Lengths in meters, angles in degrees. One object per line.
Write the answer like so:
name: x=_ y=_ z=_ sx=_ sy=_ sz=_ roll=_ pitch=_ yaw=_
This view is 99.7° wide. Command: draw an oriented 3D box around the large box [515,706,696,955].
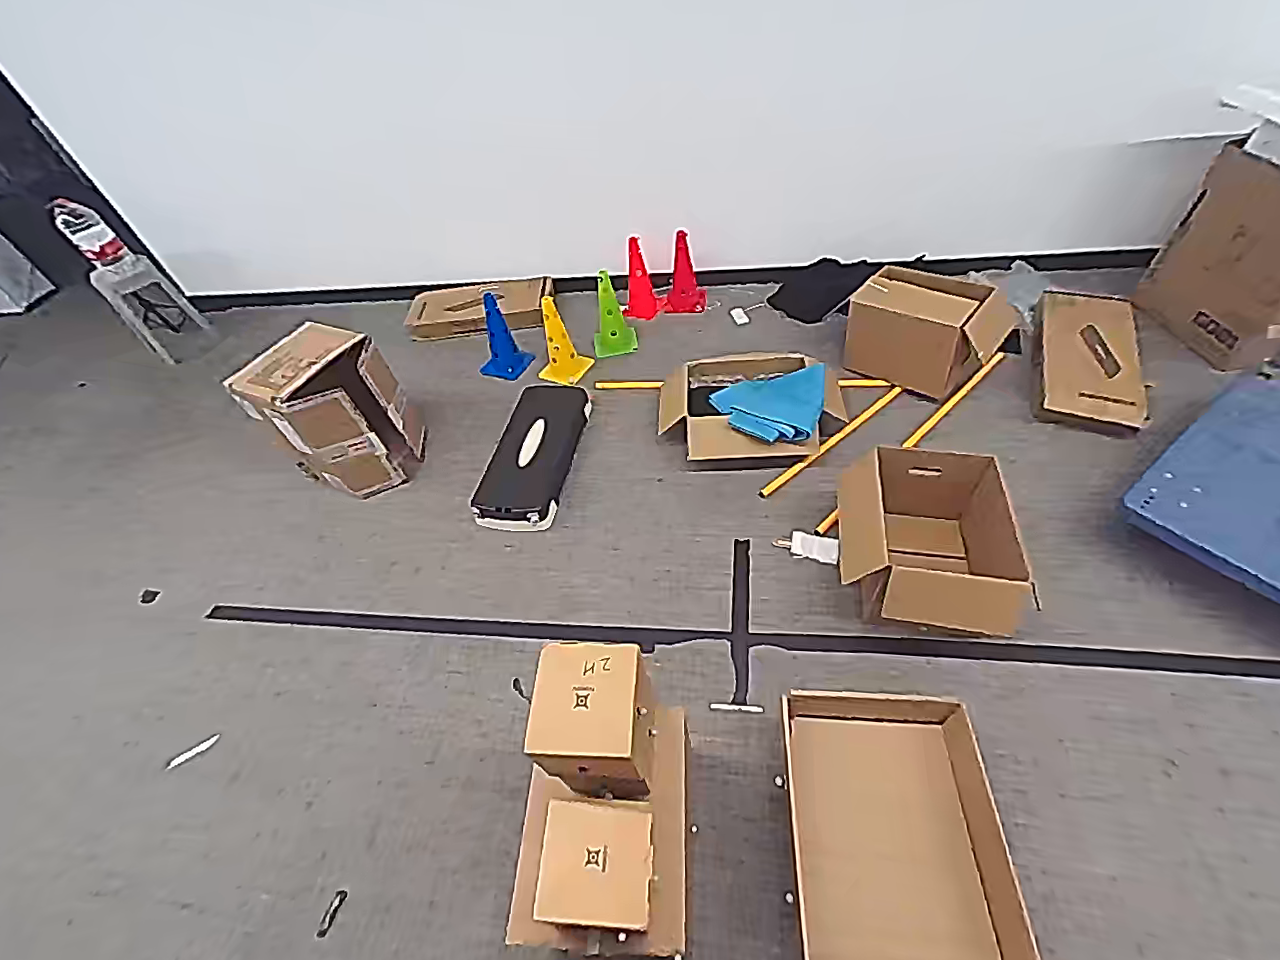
large box: x=-0.044 y=0.733 z=1.150 sx=0.320 sy=0.320 sz=0.408 roll=-3 pitch=50 yaw=7

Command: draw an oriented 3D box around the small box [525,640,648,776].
small box: x=-0.077 y=0.386 z=0.910 sx=0.168 sy=0.176 sz=0.179 roll=-1 pitch=50 yaw=7
